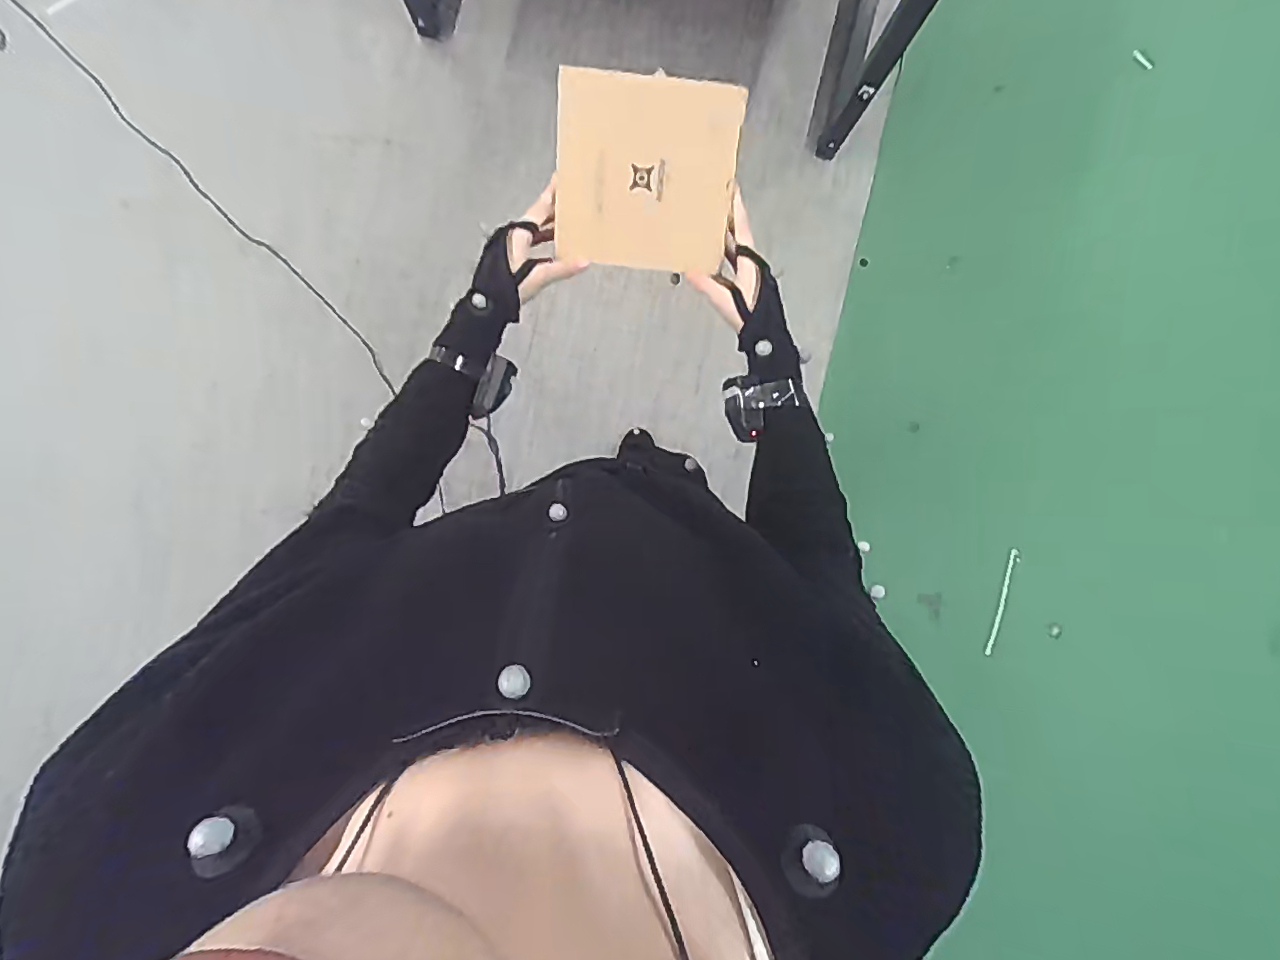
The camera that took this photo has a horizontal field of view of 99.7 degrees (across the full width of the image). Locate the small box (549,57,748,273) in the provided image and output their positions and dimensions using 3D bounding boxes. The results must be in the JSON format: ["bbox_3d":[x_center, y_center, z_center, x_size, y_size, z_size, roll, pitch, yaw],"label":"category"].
[{"bbox_3d":[0.005,-0.324,0.587,0.179,0.176,0.168,6,112,-1],"label":"small box"}]
